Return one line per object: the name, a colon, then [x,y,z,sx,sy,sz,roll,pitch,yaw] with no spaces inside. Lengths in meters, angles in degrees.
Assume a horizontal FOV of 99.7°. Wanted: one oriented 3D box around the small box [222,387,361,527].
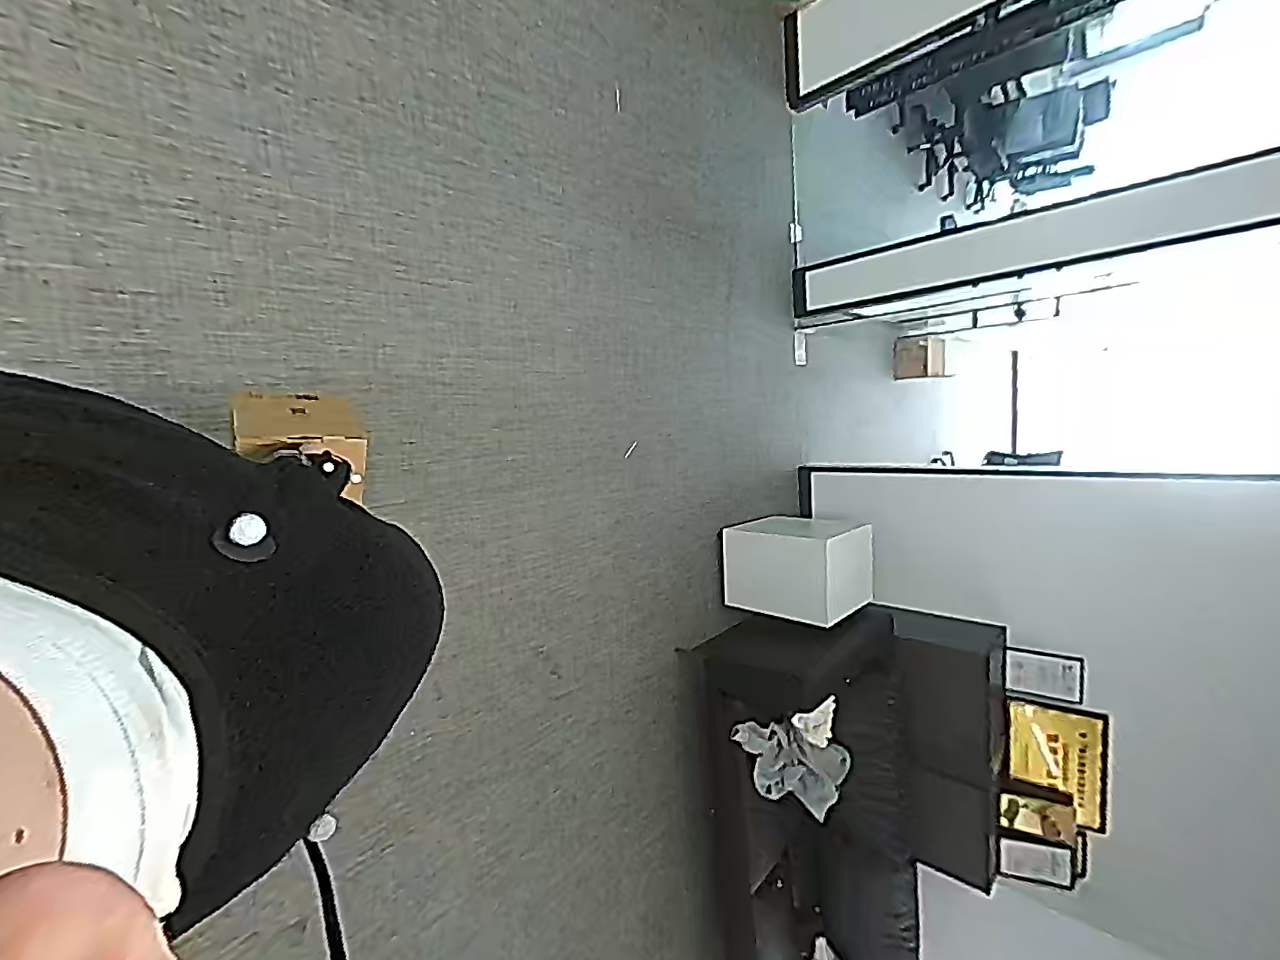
small box: [-0.556,-0.037,0.869,0.168,0.179,0.176,-7,126,-39]
